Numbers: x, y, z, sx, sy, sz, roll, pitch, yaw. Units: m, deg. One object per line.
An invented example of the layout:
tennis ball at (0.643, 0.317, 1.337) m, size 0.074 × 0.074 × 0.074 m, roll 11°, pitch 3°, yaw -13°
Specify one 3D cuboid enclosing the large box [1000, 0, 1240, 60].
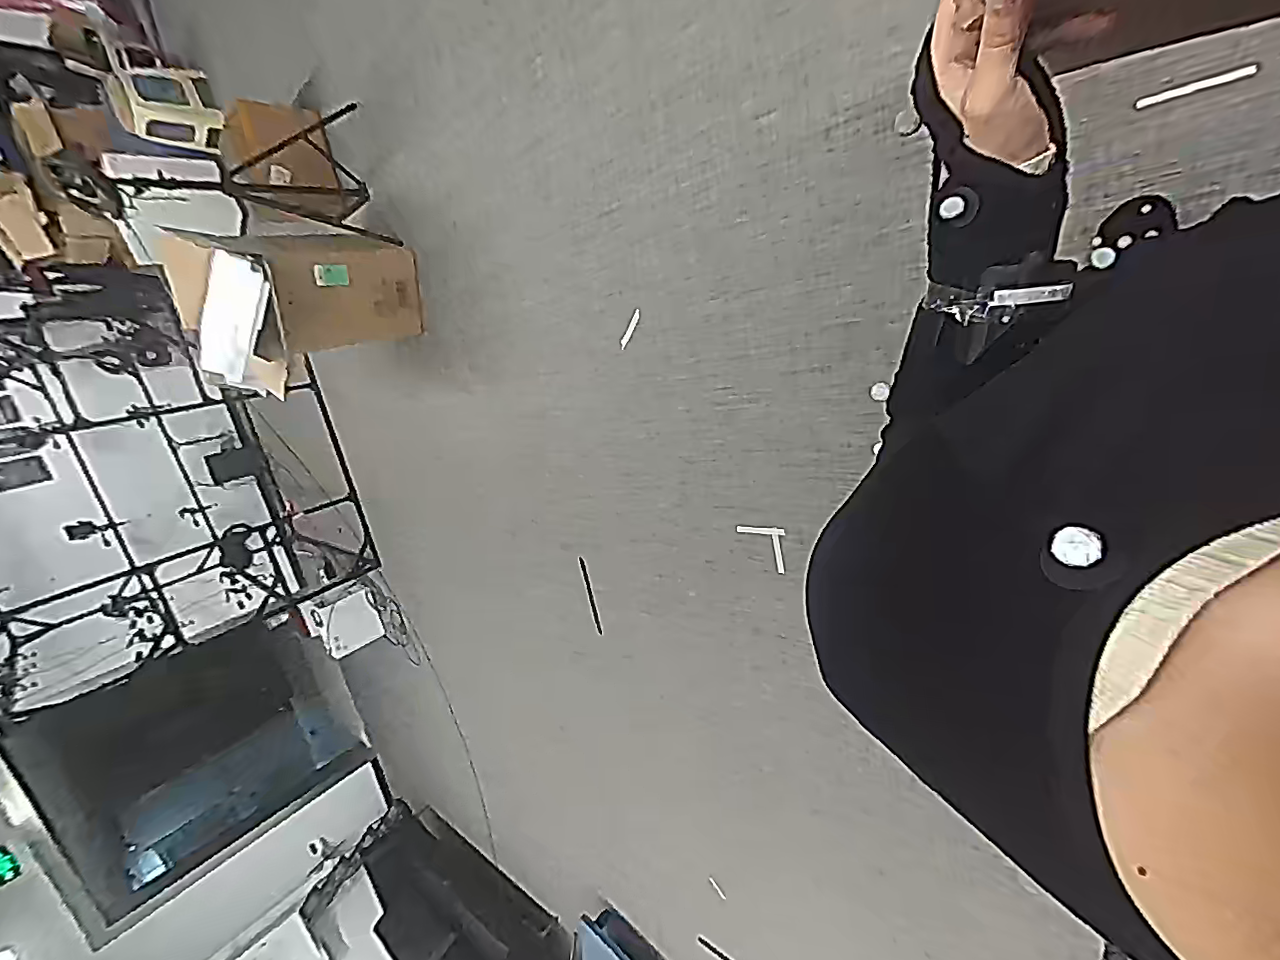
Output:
large box at (0.320, -0.369, 0.112) m, size 0.408 × 0.320 × 0.320 m, roll 11°, pitch 117°, yaw 41°
